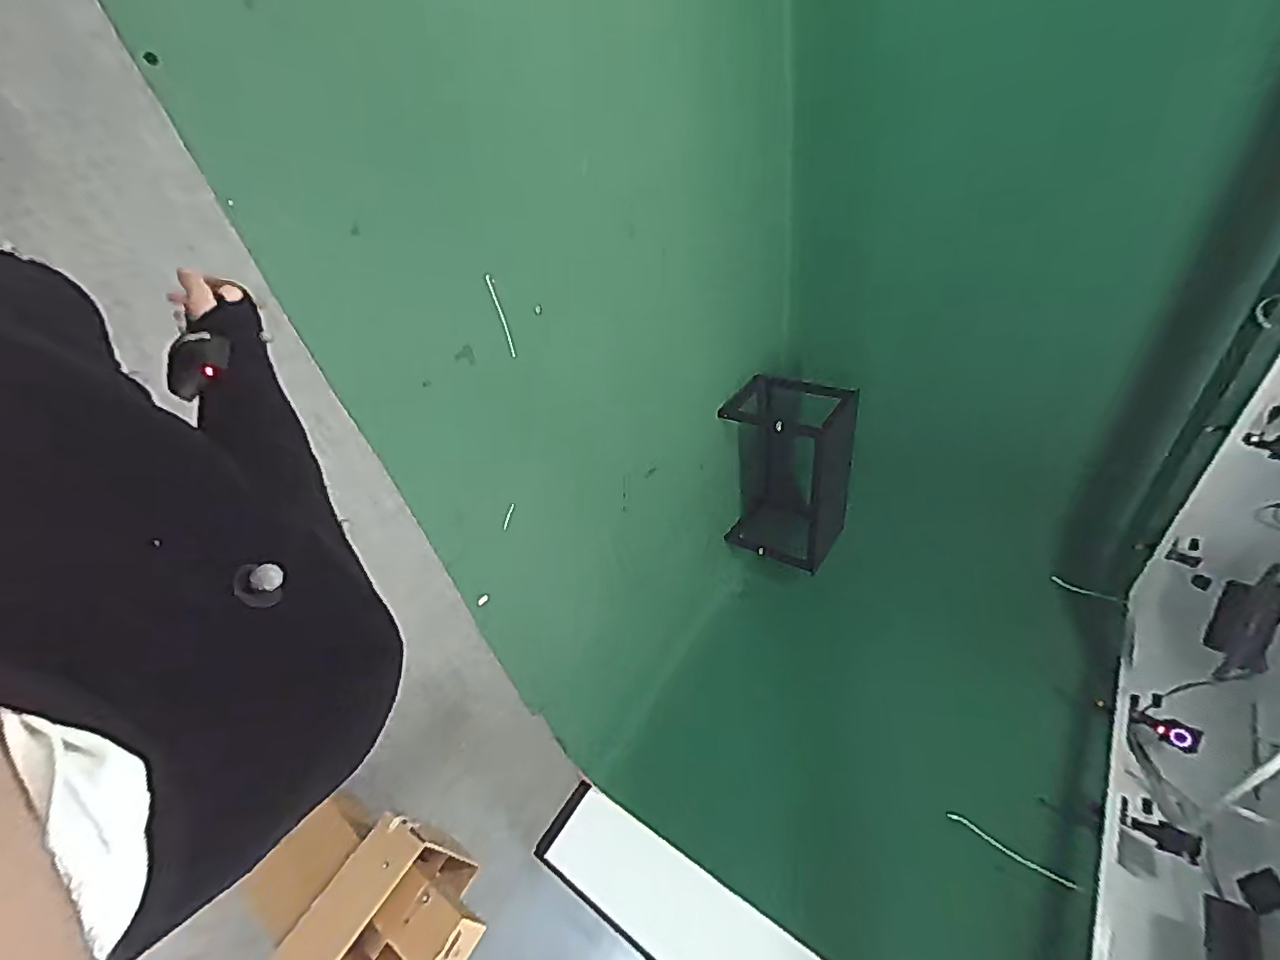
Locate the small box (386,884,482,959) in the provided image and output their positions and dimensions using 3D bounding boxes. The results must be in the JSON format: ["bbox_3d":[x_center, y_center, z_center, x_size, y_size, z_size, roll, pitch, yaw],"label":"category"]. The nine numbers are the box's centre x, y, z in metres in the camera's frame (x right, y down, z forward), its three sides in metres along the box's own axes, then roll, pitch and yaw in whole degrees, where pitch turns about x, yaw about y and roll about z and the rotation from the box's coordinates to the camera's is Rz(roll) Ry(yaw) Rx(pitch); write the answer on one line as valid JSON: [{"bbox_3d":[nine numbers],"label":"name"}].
[{"bbox_3d":[-0.616,1.354,1.615,0.168,0.176,0.179,-51,144,-31],"label":"small box"}]
